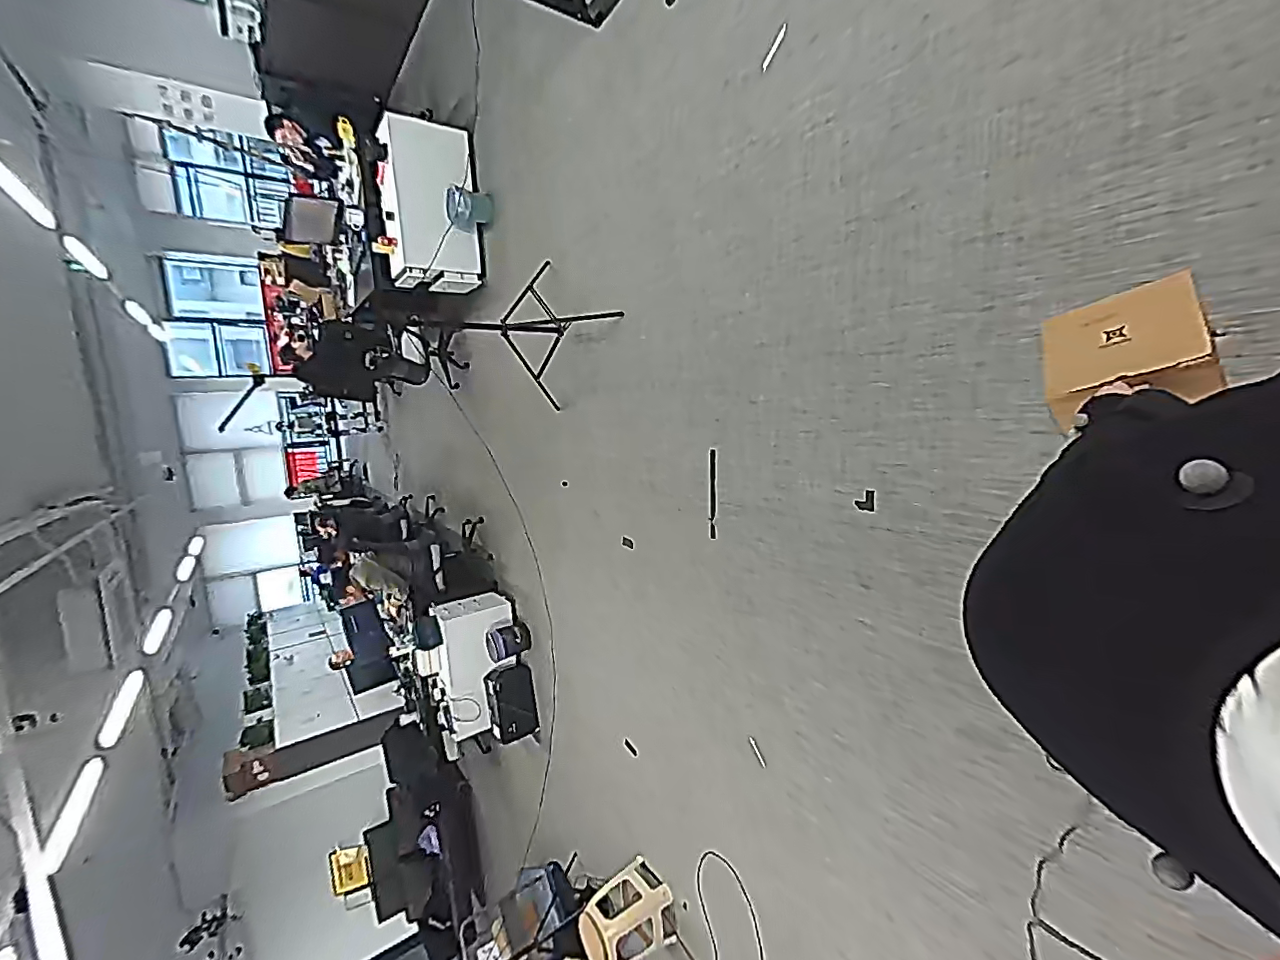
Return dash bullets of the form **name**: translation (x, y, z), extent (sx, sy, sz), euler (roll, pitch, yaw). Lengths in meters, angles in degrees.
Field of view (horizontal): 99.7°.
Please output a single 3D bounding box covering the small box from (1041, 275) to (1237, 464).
- **small box**: translation (0.690, -0.141, 0.758), extent (0.176, 0.179, 0.168), euler (43, 145, -25)
